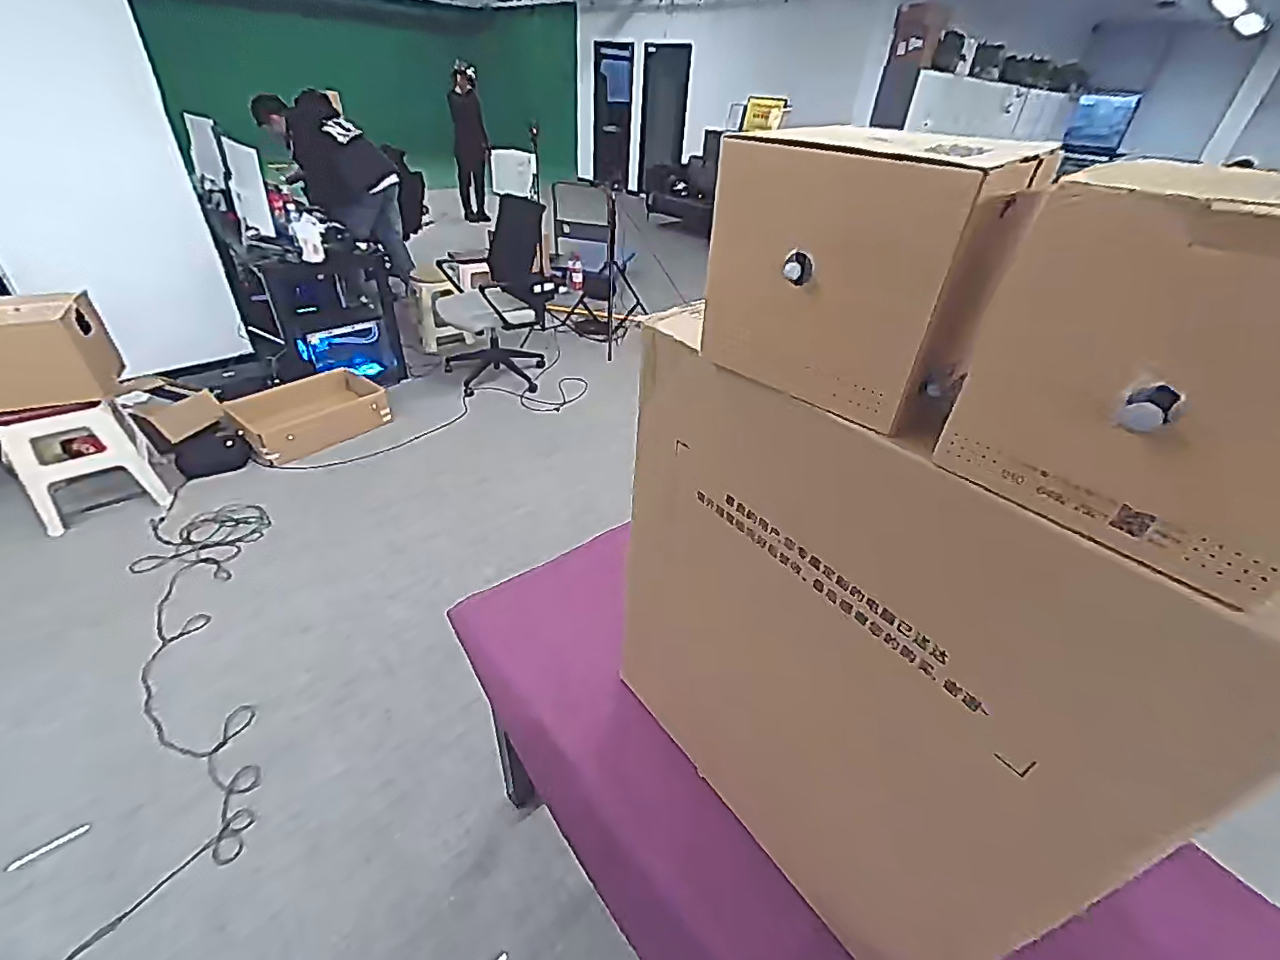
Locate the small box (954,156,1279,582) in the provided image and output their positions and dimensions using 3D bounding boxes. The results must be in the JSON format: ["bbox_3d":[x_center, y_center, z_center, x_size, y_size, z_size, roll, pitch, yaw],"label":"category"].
[{"bbox_3d":[0.314,-0.074,0.308,0.179,0.176,0.168,-26,46,-32],"label":"small box"}]

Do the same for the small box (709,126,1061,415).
[{"bbox_3d":[0.175,-0.168,0.425,0.179,0.176,0.168,31,45,33],"label":"small box"}]
